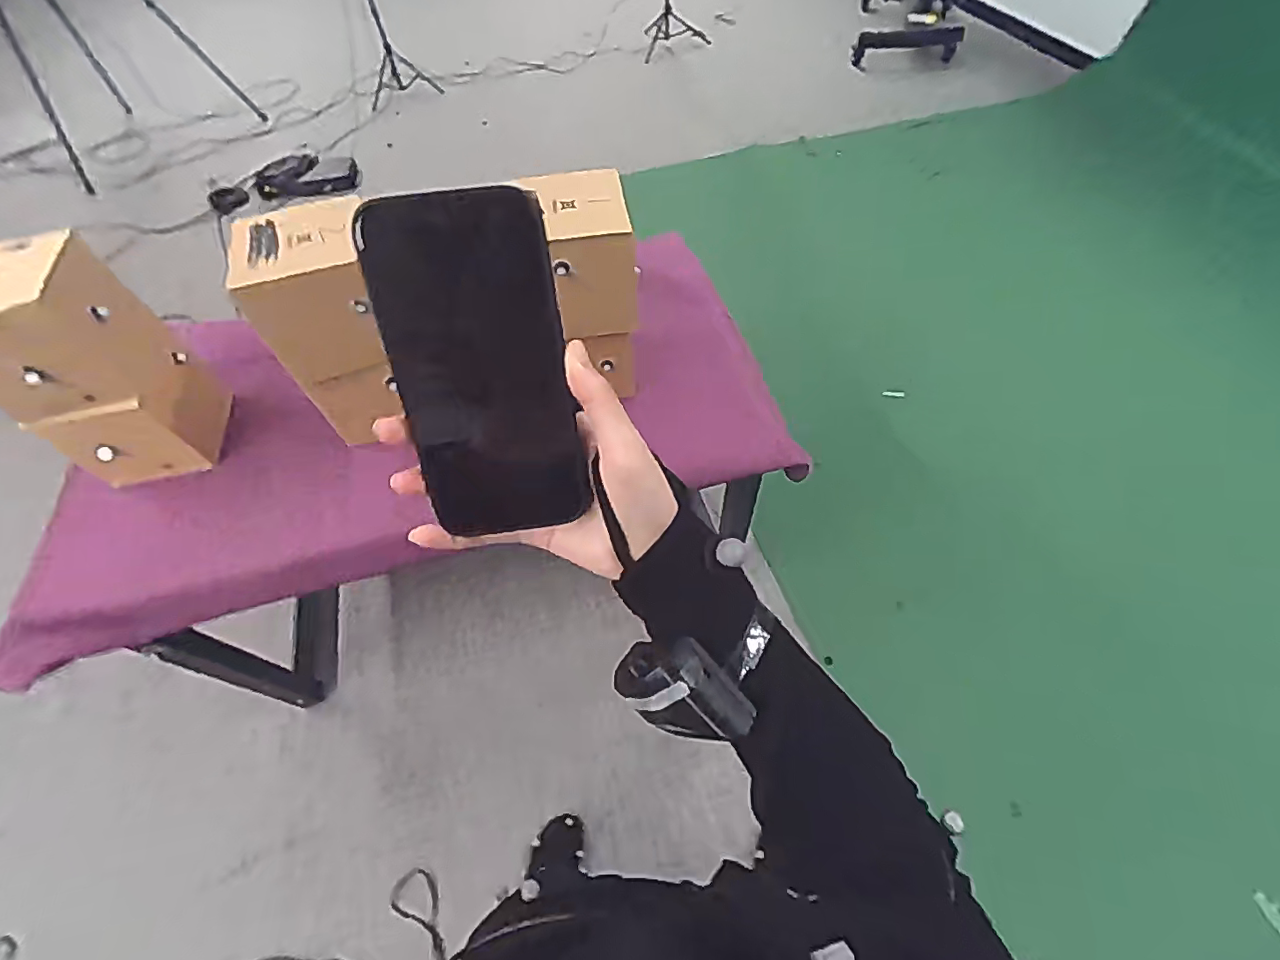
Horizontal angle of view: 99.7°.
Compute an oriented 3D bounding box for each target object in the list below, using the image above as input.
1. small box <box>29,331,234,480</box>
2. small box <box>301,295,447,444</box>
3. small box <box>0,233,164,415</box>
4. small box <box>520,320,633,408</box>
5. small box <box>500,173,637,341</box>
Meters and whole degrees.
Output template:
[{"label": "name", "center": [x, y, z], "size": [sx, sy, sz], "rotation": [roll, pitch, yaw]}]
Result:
[{"label": "small box", "center": [-0.825, -0.116, 0.904], "size": [0.168, 0.176, 0.179], "rotation": [-12, 57, -5]}, {"label": "small box", "center": [-0.441, -0.185, 0.929], "size": [0.179, 0.176, 0.168], "rotation": [-13, 57, -6]}, {"label": "small box", "center": [-0.834, -0.213, 0.772], "size": [0.168, 0.176, 0.179], "rotation": [-16, 58, -9]}, {"label": "small box", "center": [-0.107, -0.248, 0.957], "size": [0.179, 0.176, 0.168], "rotation": [-8, 56, -1]}, {"label": "small box", "center": [-0.102, -0.328, 0.813], "size": [0.179, 0.176, 0.168], "rotation": [-8, 56, -3]}]
